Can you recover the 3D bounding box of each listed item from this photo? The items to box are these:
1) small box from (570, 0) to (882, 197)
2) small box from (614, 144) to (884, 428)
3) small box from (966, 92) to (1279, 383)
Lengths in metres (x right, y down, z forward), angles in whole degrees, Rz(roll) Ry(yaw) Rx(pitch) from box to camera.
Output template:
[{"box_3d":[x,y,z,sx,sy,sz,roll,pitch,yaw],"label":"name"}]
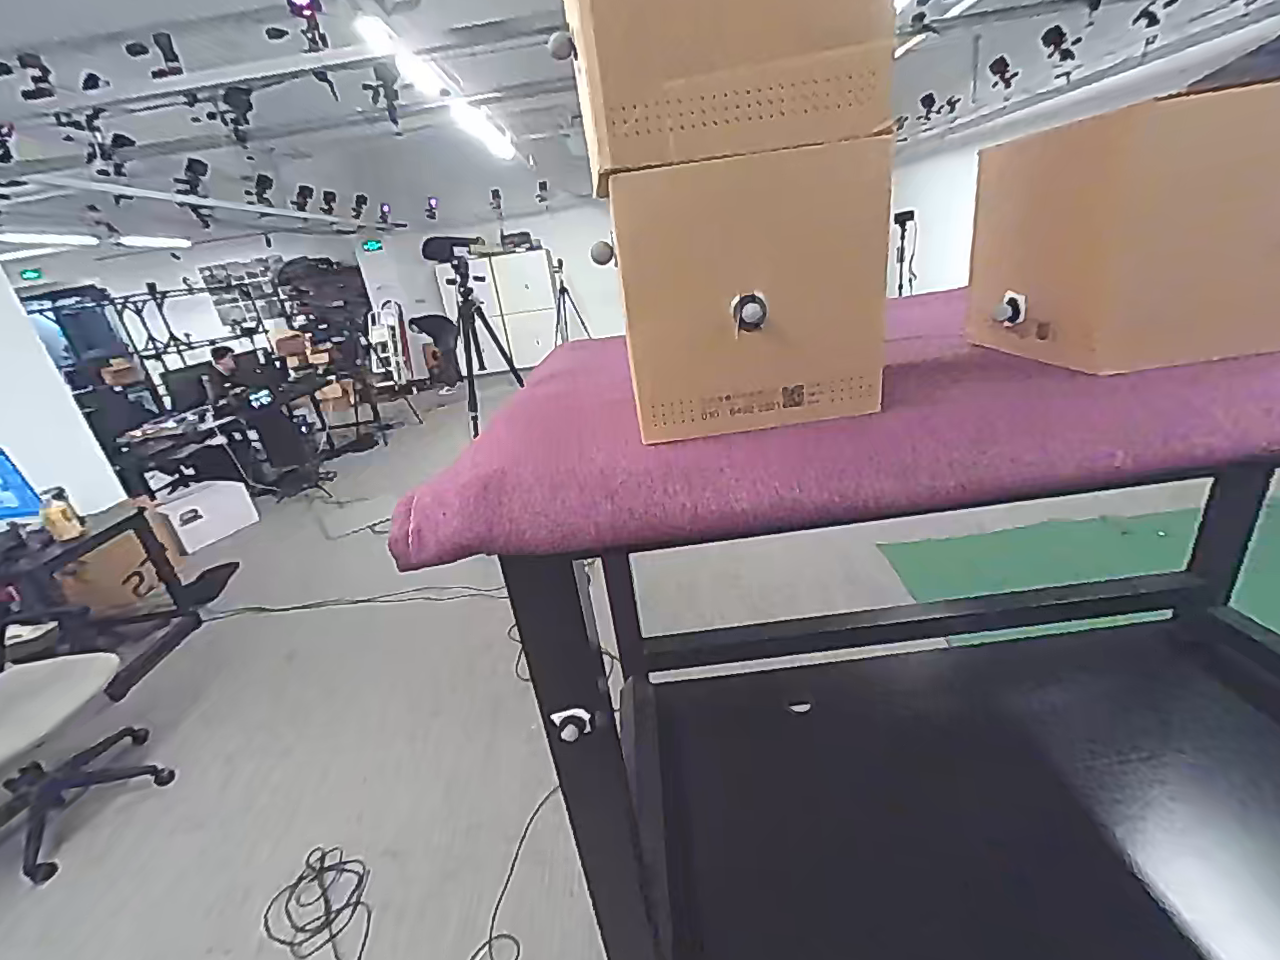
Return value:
[{"box_3d":[0.047,-0.291,0.363,0.179,0.176,0.168,-8,23,-2],"label":"small box"},{"box_3d":[0.072,-0.143,0.426,0.168,0.176,0.179,-7,22,0],"label":"small box"},{"box_3d":[0.391,-0.184,0.427,0.179,0.176,0.168,-9,21,1],"label":"small box"}]
